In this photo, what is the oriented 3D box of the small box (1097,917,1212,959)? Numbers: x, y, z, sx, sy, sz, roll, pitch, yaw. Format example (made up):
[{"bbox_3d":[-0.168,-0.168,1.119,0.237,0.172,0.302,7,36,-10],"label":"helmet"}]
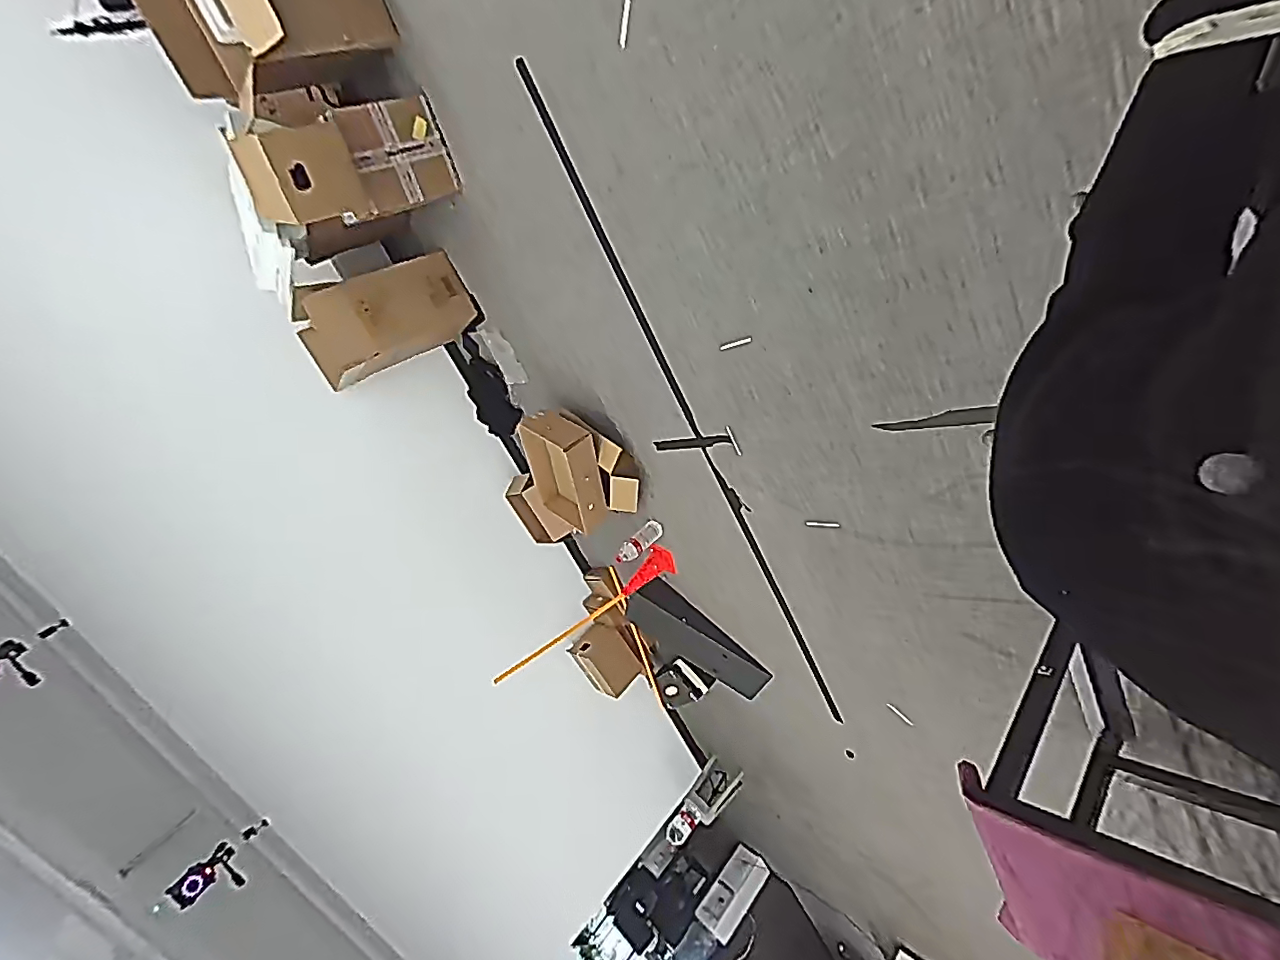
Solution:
[{"bbox_3d":[1.011,1.005,1.047,0.179,0.176,0.168,0,124,53],"label":"small box"}]
